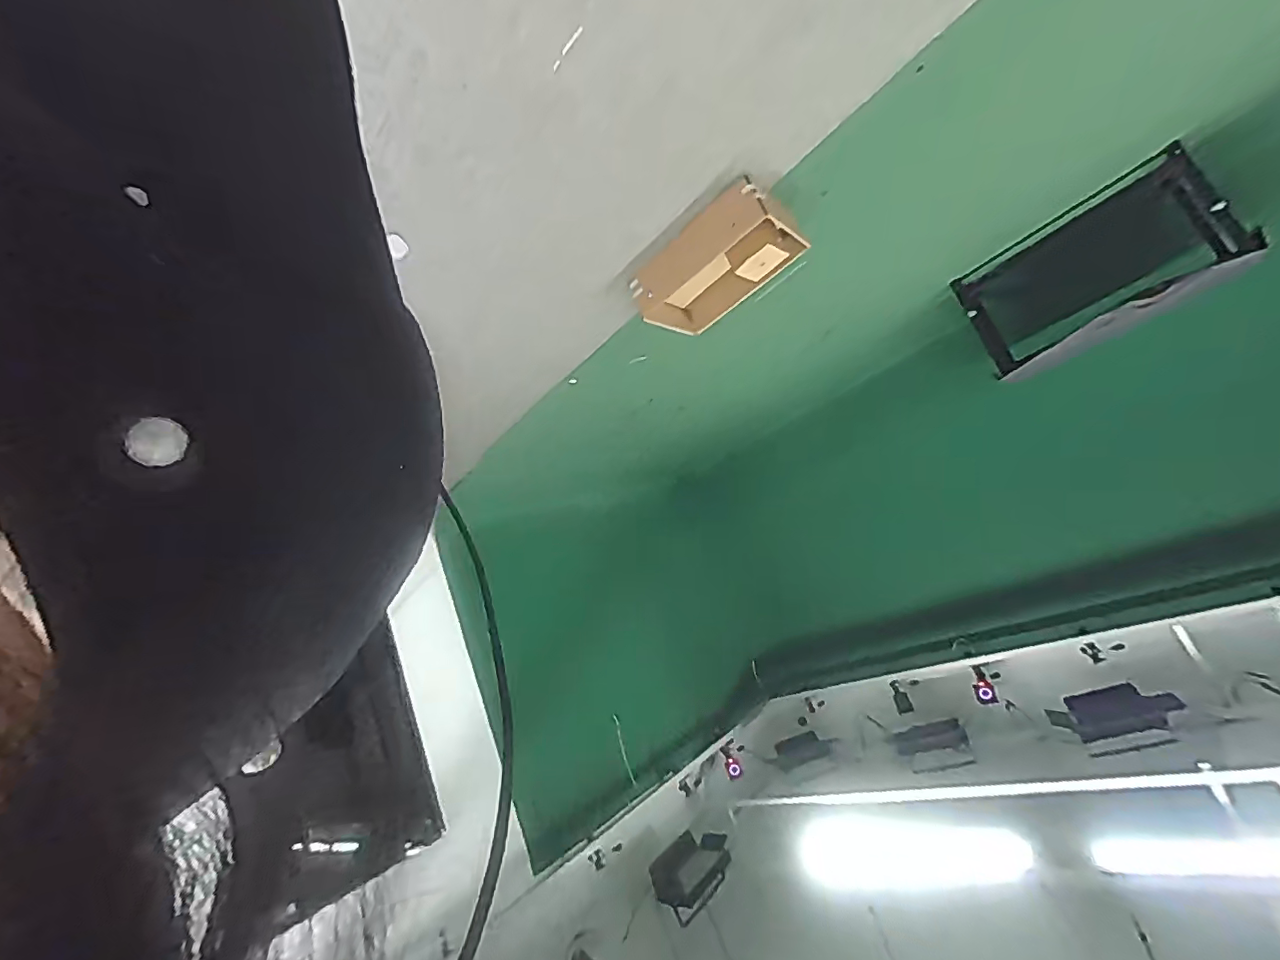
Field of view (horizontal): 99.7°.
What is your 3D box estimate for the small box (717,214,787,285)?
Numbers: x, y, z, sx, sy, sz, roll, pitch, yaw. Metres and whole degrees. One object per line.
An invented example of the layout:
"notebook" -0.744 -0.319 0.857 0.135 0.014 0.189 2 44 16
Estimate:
"small box" 0.428 -0.884 2.077 0.179 0.176 0.168 -5 159 -48
